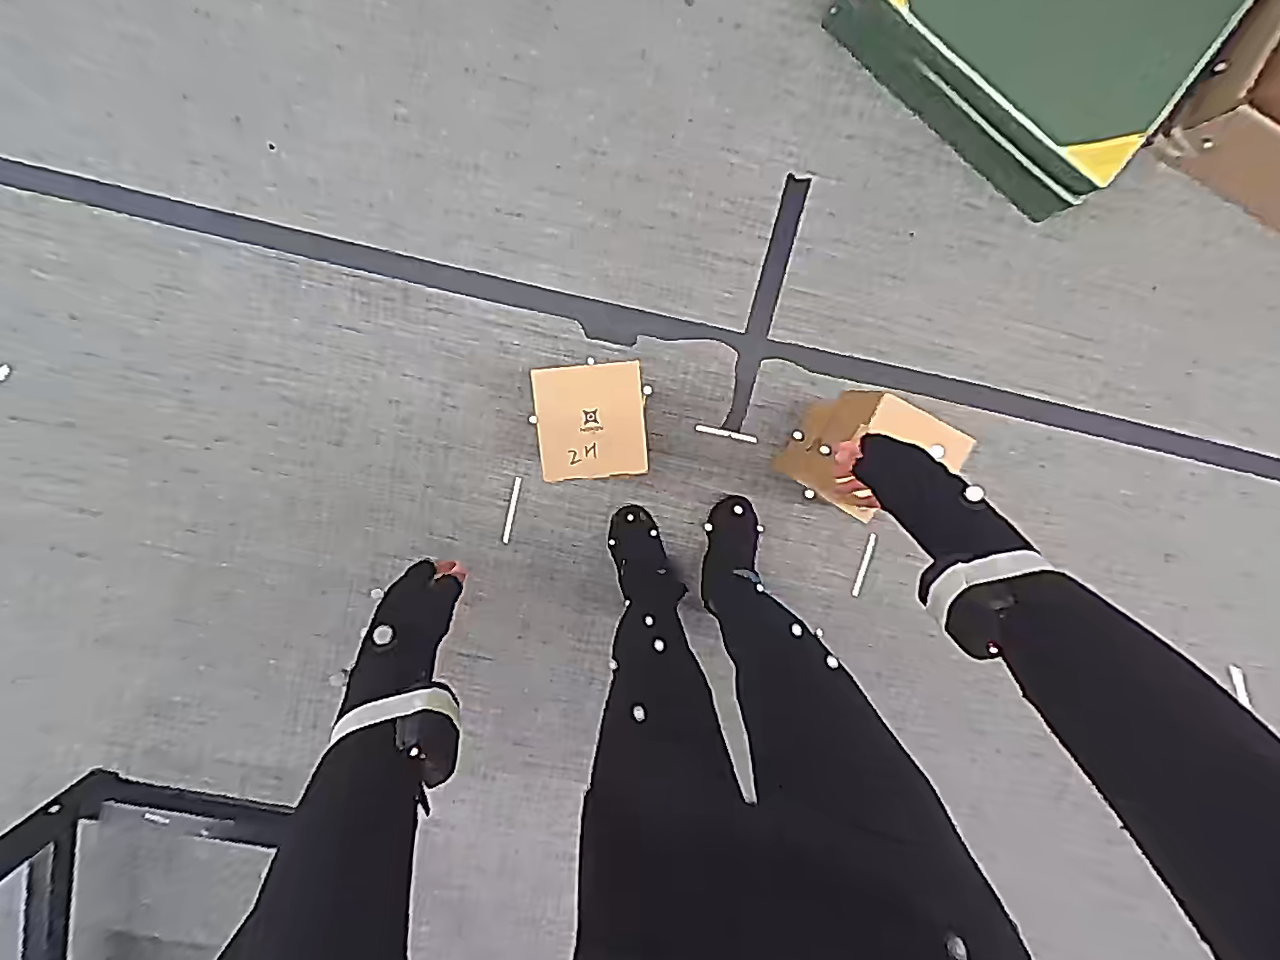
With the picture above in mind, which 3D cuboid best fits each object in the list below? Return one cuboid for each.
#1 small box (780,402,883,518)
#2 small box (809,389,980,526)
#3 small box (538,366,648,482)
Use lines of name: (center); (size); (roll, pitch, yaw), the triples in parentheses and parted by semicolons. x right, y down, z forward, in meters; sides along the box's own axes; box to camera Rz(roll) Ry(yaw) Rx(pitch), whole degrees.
small box: (0.413, -0.046, 1.100); (0.179, 0.176, 0.168); (28, 97, -8)
small box: (0.422, -0.045, 0.933); (0.179, 0.176, 0.168); (26, 98, -7)
small box: (-0.073, -0.098, 0.906); (0.168, 0.176, 0.179); (-2, 102, 0)
